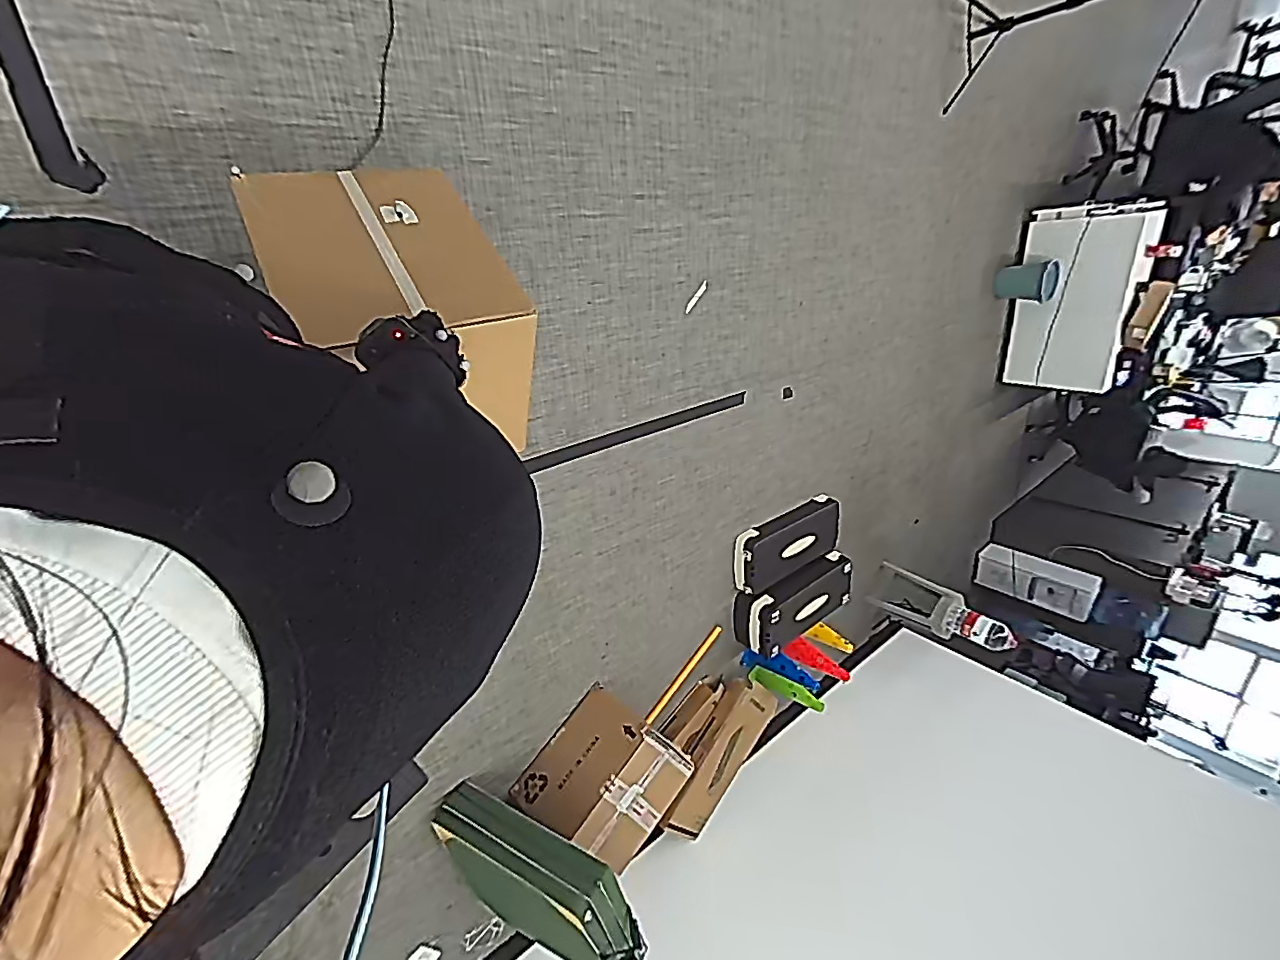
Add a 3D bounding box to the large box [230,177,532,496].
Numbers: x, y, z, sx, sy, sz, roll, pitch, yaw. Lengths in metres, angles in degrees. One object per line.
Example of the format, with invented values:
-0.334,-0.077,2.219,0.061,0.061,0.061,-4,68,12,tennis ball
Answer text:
-0.415,-0.248,0.912,0.320,0.408,0.320,-20,151,-29,large box
